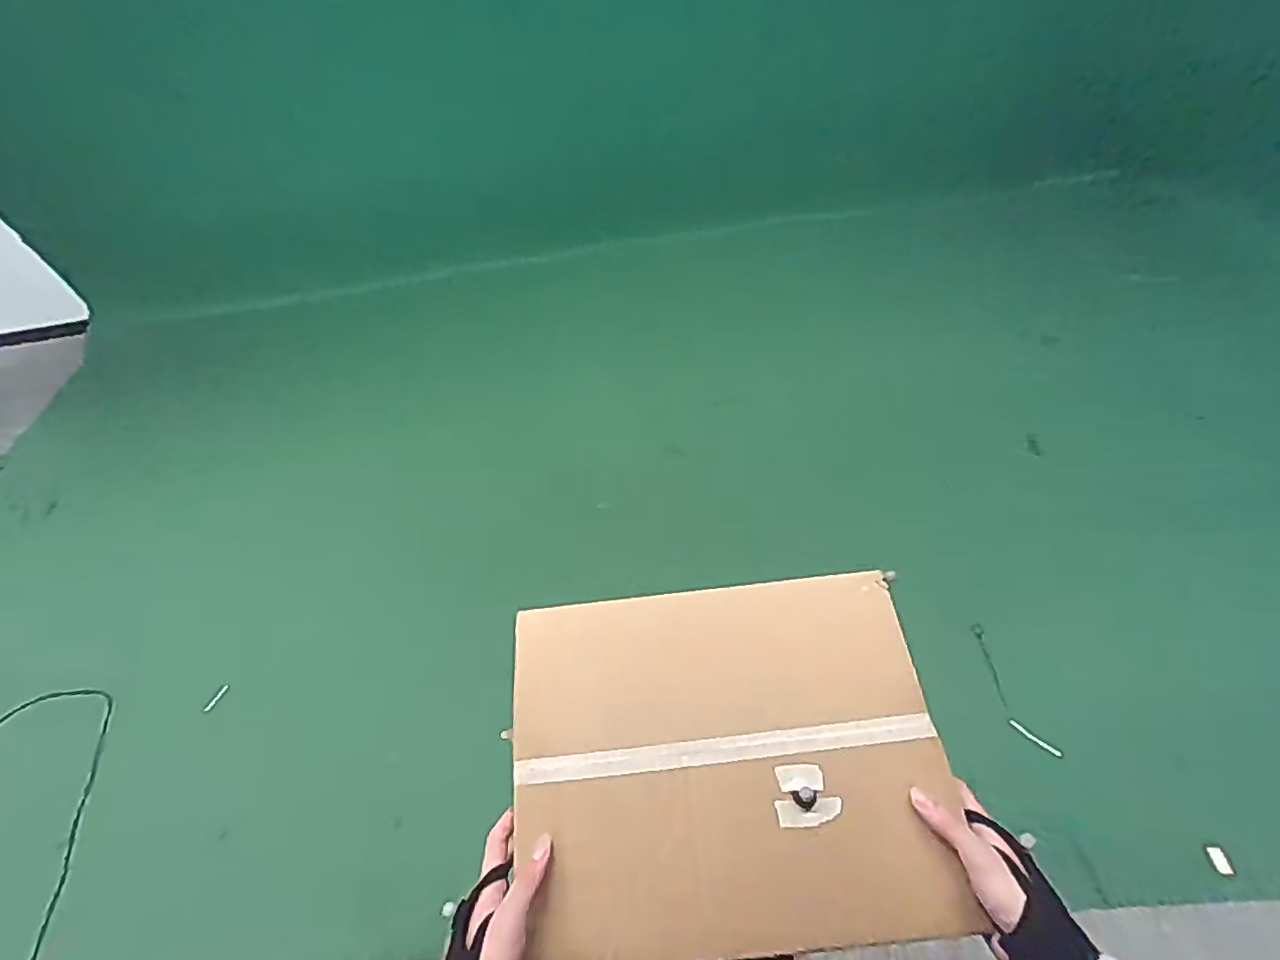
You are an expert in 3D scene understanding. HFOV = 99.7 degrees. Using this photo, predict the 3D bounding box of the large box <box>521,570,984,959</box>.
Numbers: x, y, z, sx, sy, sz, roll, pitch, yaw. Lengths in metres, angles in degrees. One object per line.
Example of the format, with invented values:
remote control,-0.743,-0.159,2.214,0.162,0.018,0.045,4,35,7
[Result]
large box,0.089,0.330,0.660,0.408,0.320,0.320,-7,62,0
